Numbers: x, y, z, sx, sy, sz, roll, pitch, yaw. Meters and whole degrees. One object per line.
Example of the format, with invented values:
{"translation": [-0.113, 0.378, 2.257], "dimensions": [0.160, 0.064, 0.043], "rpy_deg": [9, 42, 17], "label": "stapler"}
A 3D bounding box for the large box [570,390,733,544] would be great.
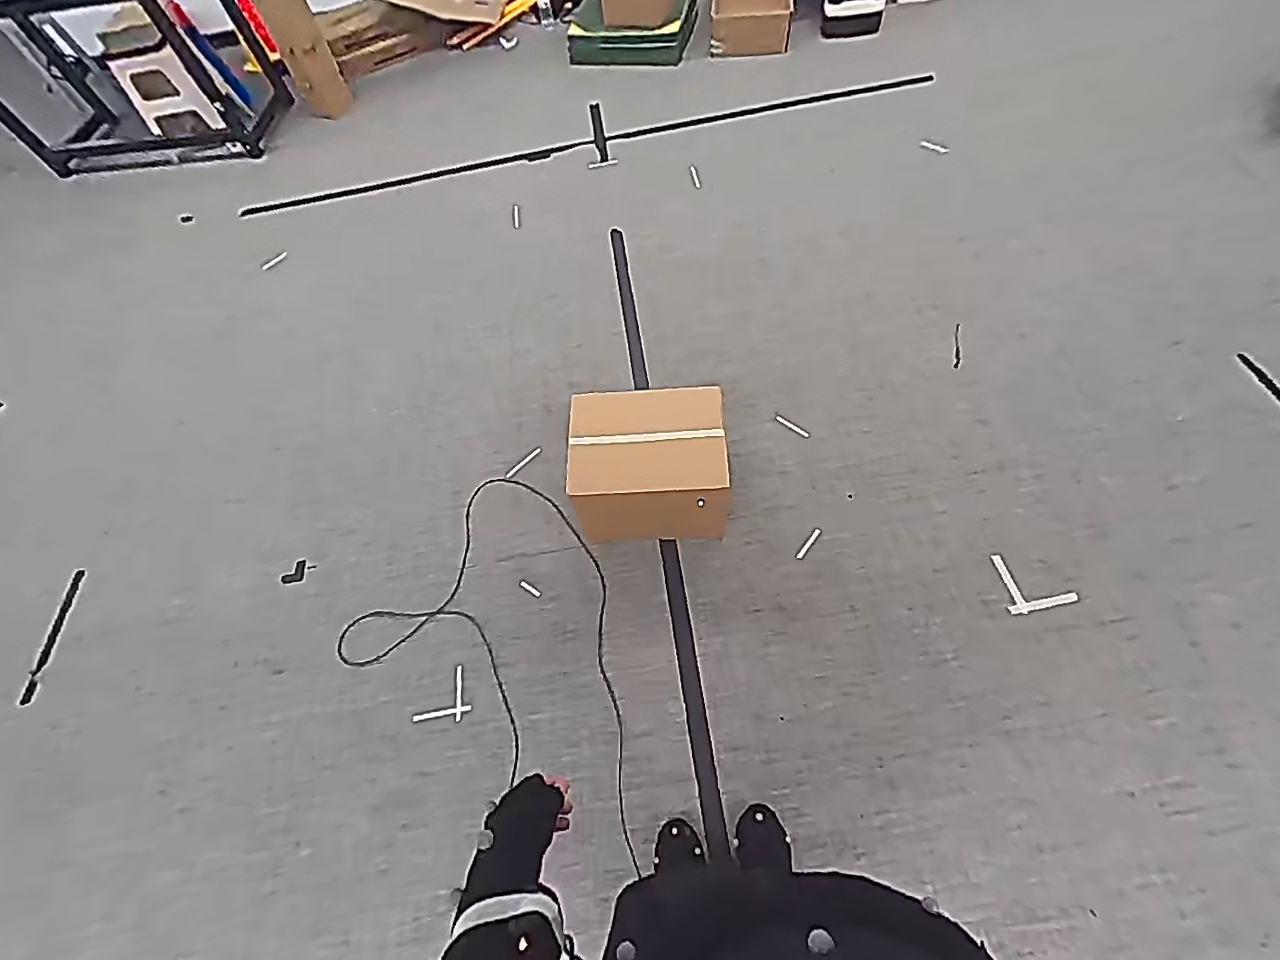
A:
{"translation": [0.036, -0.024, 1.512], "dimensions": [0.408, 0.320, 0.320], "rpy_deg": [-3, 60, 4], "label": "large box"}
